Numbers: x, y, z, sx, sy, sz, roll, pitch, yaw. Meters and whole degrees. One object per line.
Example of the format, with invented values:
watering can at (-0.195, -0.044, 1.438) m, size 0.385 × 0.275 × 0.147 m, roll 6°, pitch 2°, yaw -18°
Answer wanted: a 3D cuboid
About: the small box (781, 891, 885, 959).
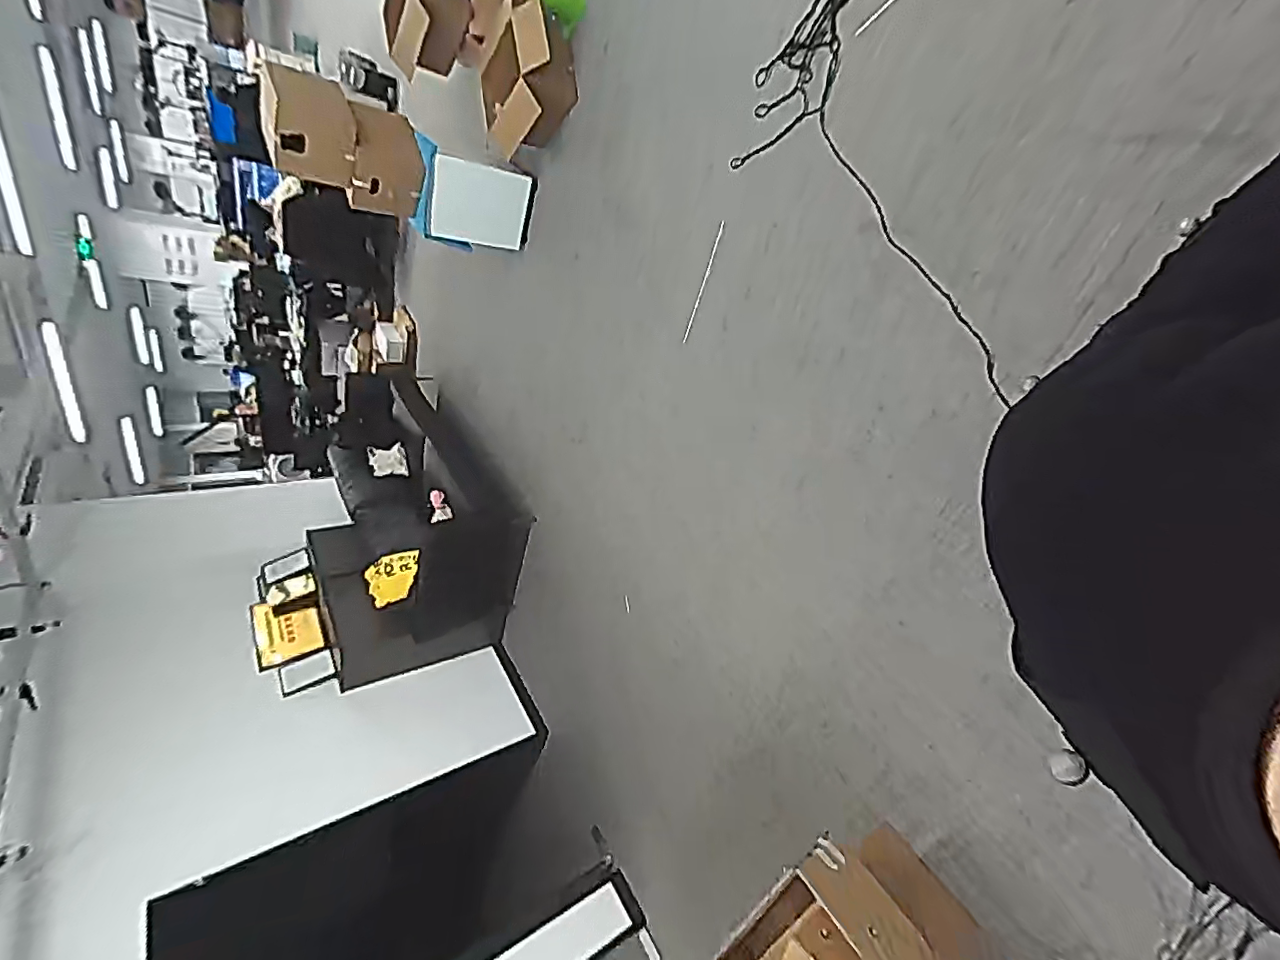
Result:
small box at (0.481, 1.187, 1.347) m, size 0.168 × 0.176 × 0.179 m, roll 30°, pitch 120°, yaw 47°
